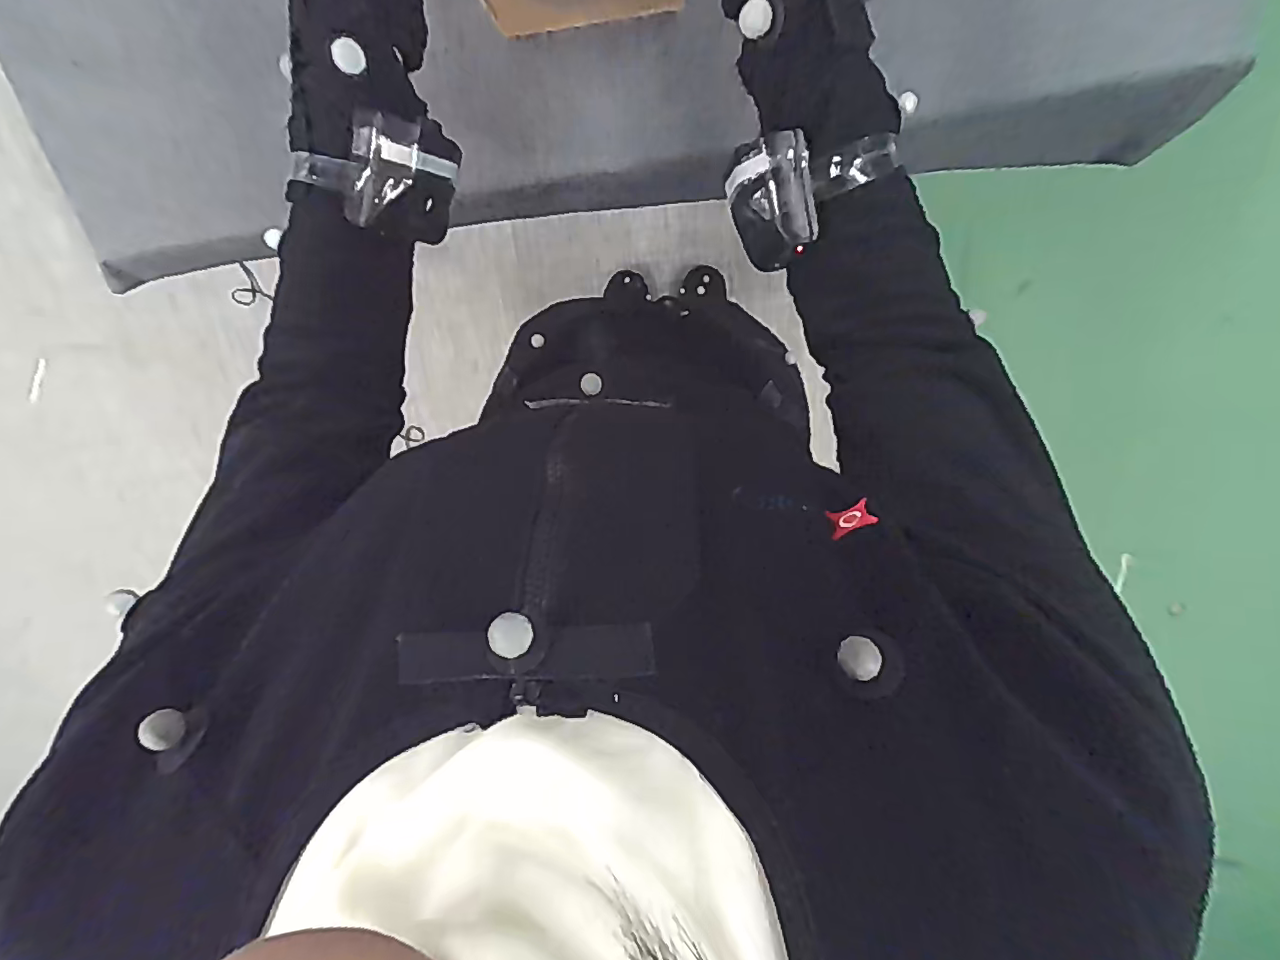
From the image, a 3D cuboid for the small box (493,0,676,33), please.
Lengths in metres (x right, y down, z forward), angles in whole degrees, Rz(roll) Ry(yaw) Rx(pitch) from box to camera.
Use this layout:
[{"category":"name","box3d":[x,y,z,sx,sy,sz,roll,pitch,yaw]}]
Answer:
[{"category":"small box","box3d":[-0.054,-0.486,0.421,0.179,0.176,0.168,-6,113,4]}]
